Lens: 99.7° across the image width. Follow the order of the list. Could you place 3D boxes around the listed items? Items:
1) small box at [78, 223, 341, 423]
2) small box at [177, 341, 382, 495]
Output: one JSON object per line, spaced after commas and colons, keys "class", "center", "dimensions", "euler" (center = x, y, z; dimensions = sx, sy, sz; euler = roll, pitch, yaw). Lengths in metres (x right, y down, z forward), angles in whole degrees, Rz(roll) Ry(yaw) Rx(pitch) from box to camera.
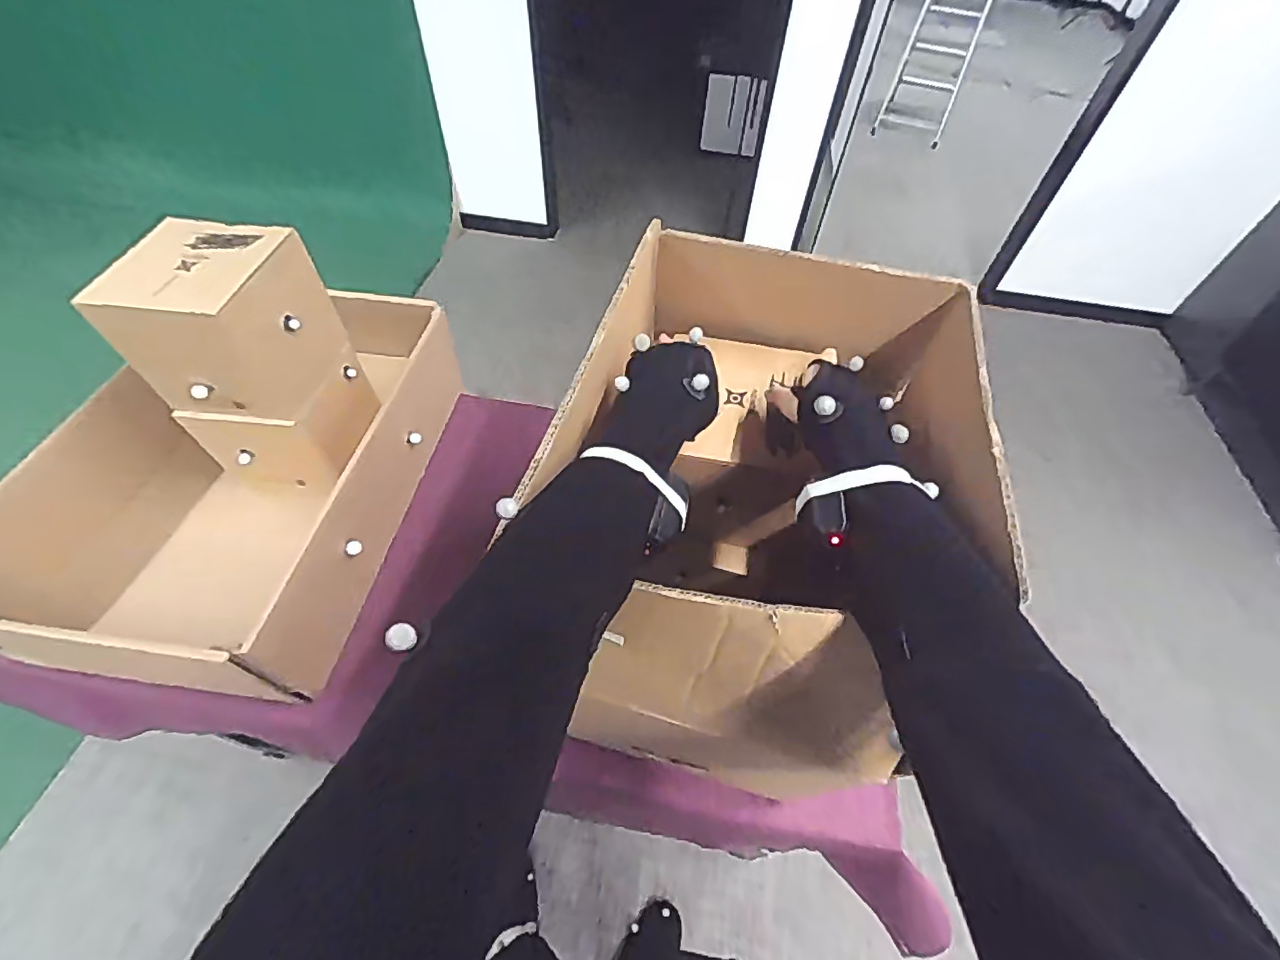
{"class": "small box", "center": [-0.518, -0.198, 0.690], "dimensions": [0.168, 0.176, 0.179], "euler": [5, 55, 3]}
{"class": "small box", "center": [-0.522, -0.094, 0.818], "dimensions": [0.168, 0.176, 0.179], "euler": [4, 54, 2]}
